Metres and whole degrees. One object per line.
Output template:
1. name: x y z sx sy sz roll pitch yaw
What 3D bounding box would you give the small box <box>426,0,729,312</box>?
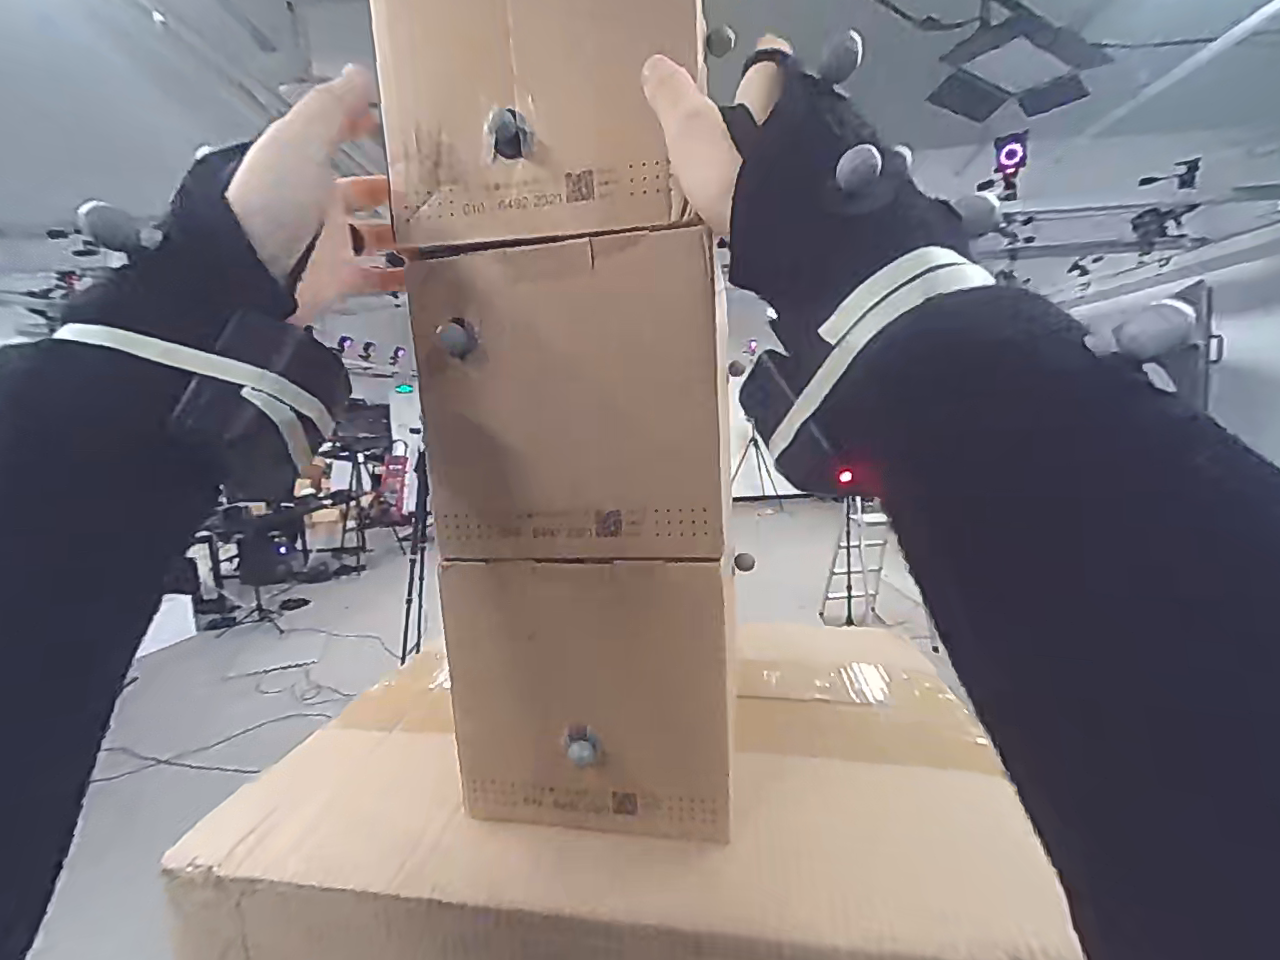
1. small box: -0.026 -0.211 0.361 0.168 0.176 0.179 -1 9 8

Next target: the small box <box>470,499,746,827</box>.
1. small box: -0.008 0.112 0.403 0.168 0.176 0.179 -1 9 11
